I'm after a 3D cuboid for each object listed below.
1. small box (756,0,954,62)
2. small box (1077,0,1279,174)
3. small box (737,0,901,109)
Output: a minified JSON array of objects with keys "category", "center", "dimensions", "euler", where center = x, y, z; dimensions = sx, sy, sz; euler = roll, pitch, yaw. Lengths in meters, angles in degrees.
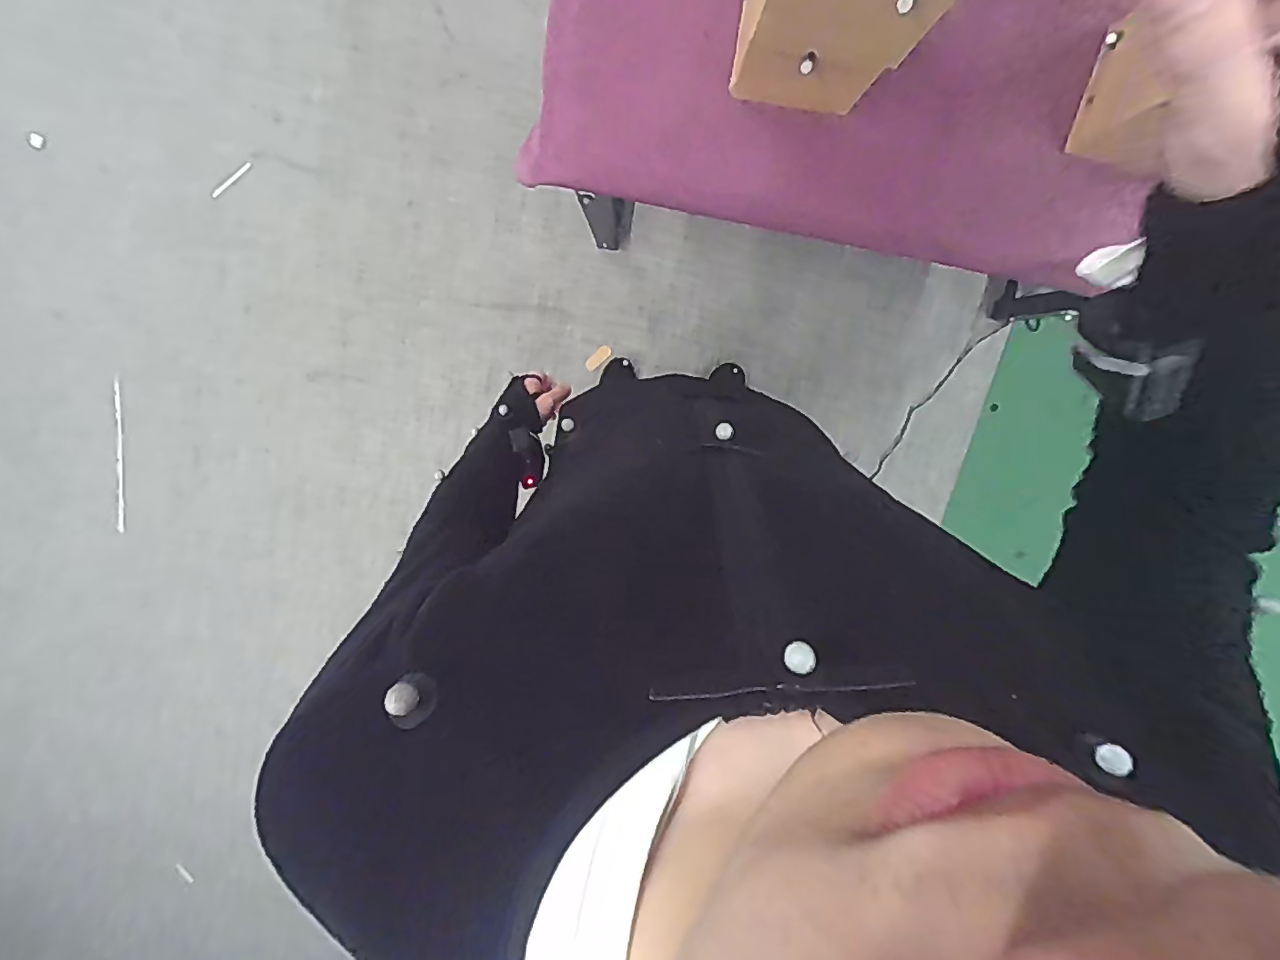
[{"category":"small box","center":[0.229,-0.553,0.531],"dimensions":[0.179,0.176,0.168],"euler":[11,103,-1]},{"category":"small box","center":[0.724,-0.519,0.692],"dimensions":[0.179,0.176,0.168],"euler":[13,103,-2]},{"category":"small box","center":[0.234,-0.605,0.688],"dimensions":[0.179,0.176,0.168],"euler":[9,103,0]}]
